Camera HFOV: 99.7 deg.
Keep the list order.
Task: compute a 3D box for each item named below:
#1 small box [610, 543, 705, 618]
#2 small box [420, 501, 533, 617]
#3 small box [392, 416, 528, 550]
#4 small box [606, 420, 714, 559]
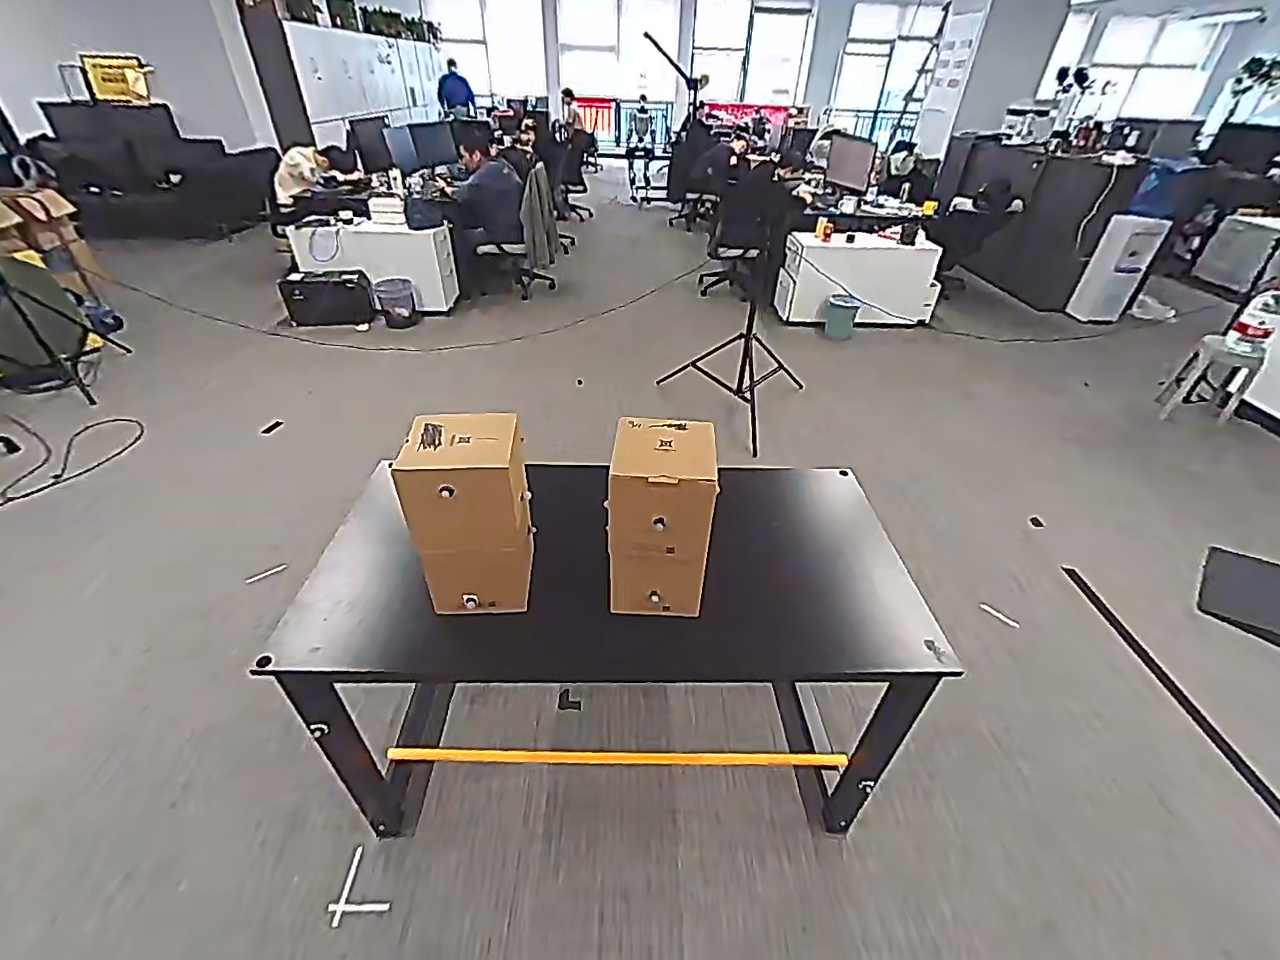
[{"bbox_3d":[0.031,0.137,1.033,0.168,0.176,0.179,3,37,1],"label":"small box"},{"bbox_3d":[-0.296,0.136,1.021,0.168,0.176,0.179,-2,38,-4],"label":"small box"},{"bbox_3d":[-0.293,0.006,0.920,0.179,0.176,0.168,-2,37,-6],"label":"small box"},{"bbox_3d":[0.036,0.017,0.920,0.168,0.176,0.179,4,37,2],"label":"small box"}]
